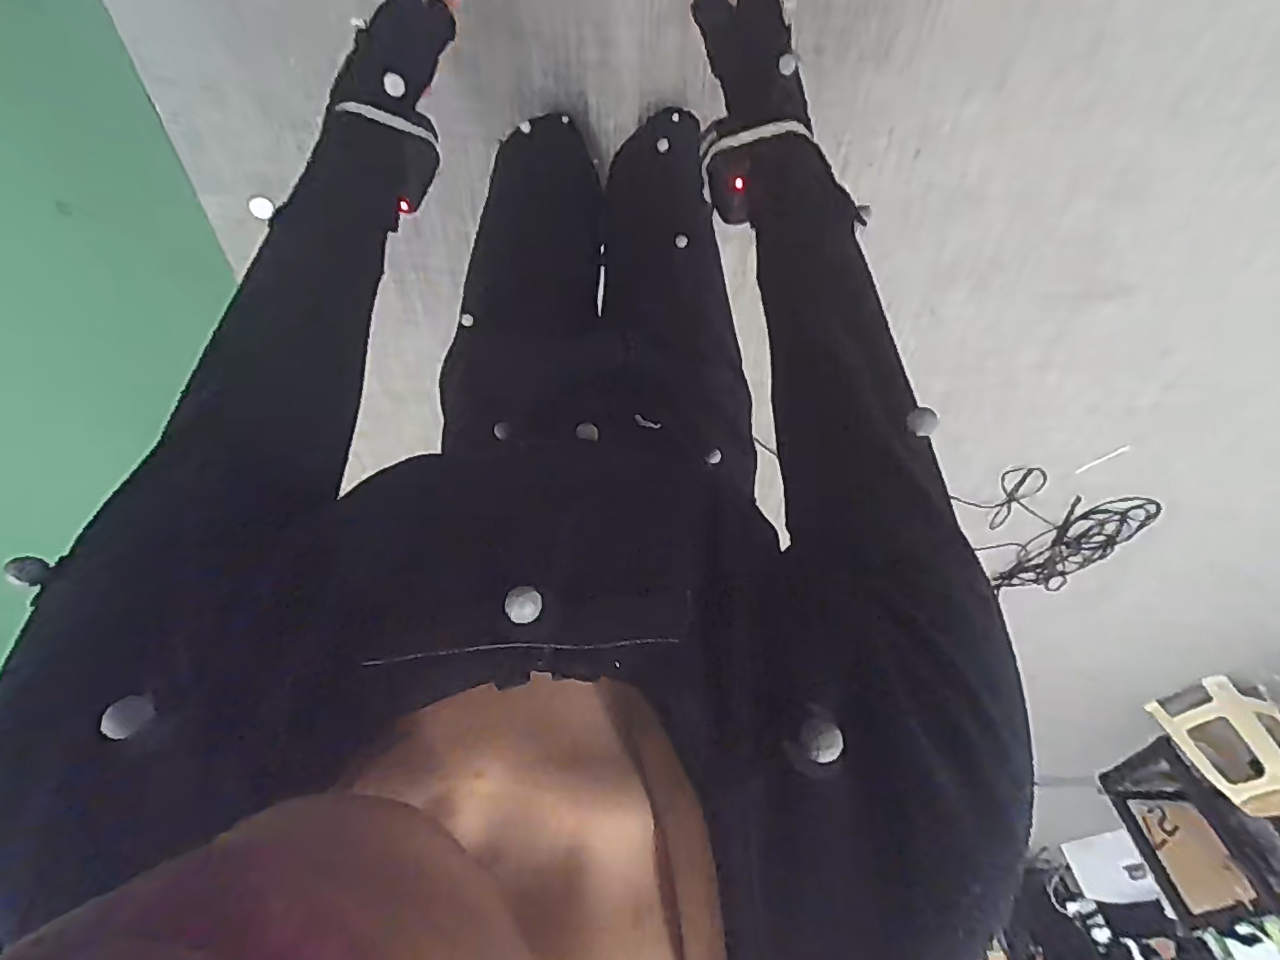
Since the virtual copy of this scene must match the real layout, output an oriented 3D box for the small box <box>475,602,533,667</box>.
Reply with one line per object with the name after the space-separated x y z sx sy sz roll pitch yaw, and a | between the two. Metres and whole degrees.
-0.498 0.575 2.007 0.168 0.176 0.179 1 132 -1 | small box
